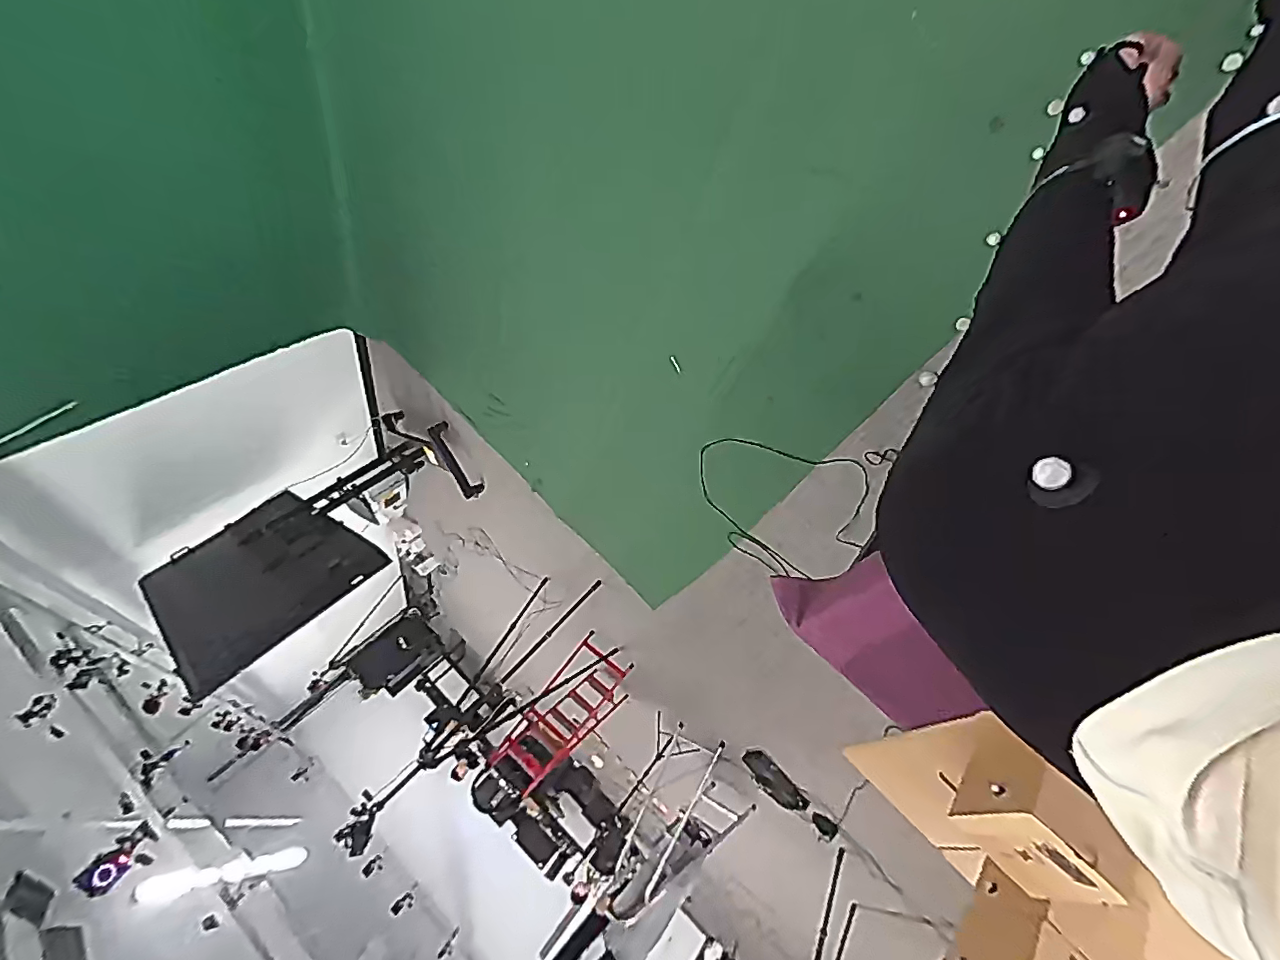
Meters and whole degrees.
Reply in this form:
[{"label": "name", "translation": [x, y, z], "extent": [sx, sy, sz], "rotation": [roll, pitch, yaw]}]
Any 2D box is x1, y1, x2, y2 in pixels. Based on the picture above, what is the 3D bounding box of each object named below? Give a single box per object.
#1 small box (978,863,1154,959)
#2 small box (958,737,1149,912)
[{"label": "small box", "translation": [0.764, 0.781, 0.971], "extent": [0.168, 0.176, 0.179], "rotation": [44, 145, 13]}, {"label": "small box", "translation": [0.667, 0.545, 0.873], "extent": [0.168, 0.176, 0.179], "rotation": [43, 146, 13]}]
